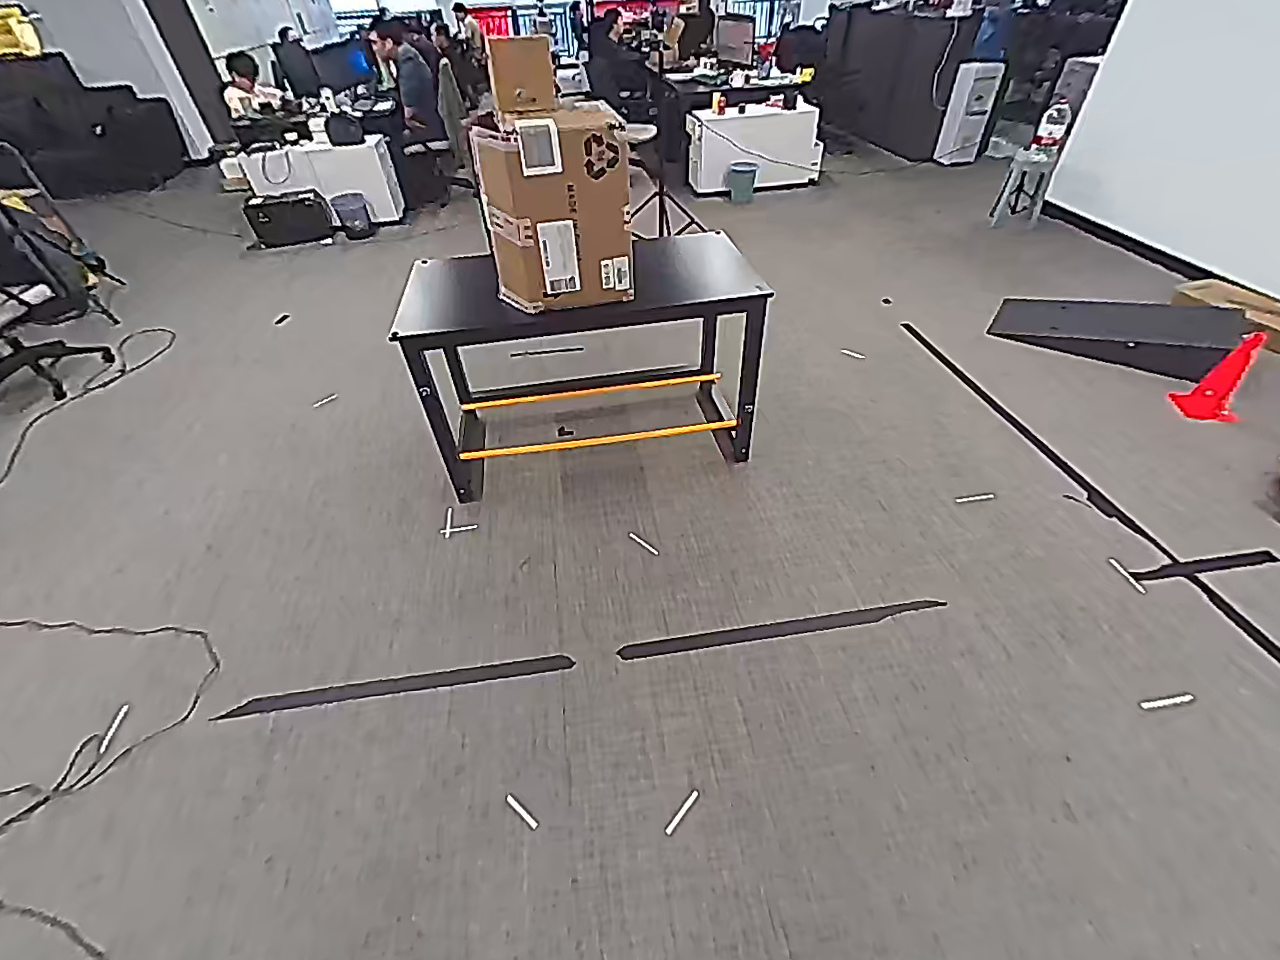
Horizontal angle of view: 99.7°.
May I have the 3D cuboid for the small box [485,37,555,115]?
[{"bbox_3d":[-0.345,-1.163,1.556,0.168,0.176,0.179,-12,42,-11],"label":"small box"}]
